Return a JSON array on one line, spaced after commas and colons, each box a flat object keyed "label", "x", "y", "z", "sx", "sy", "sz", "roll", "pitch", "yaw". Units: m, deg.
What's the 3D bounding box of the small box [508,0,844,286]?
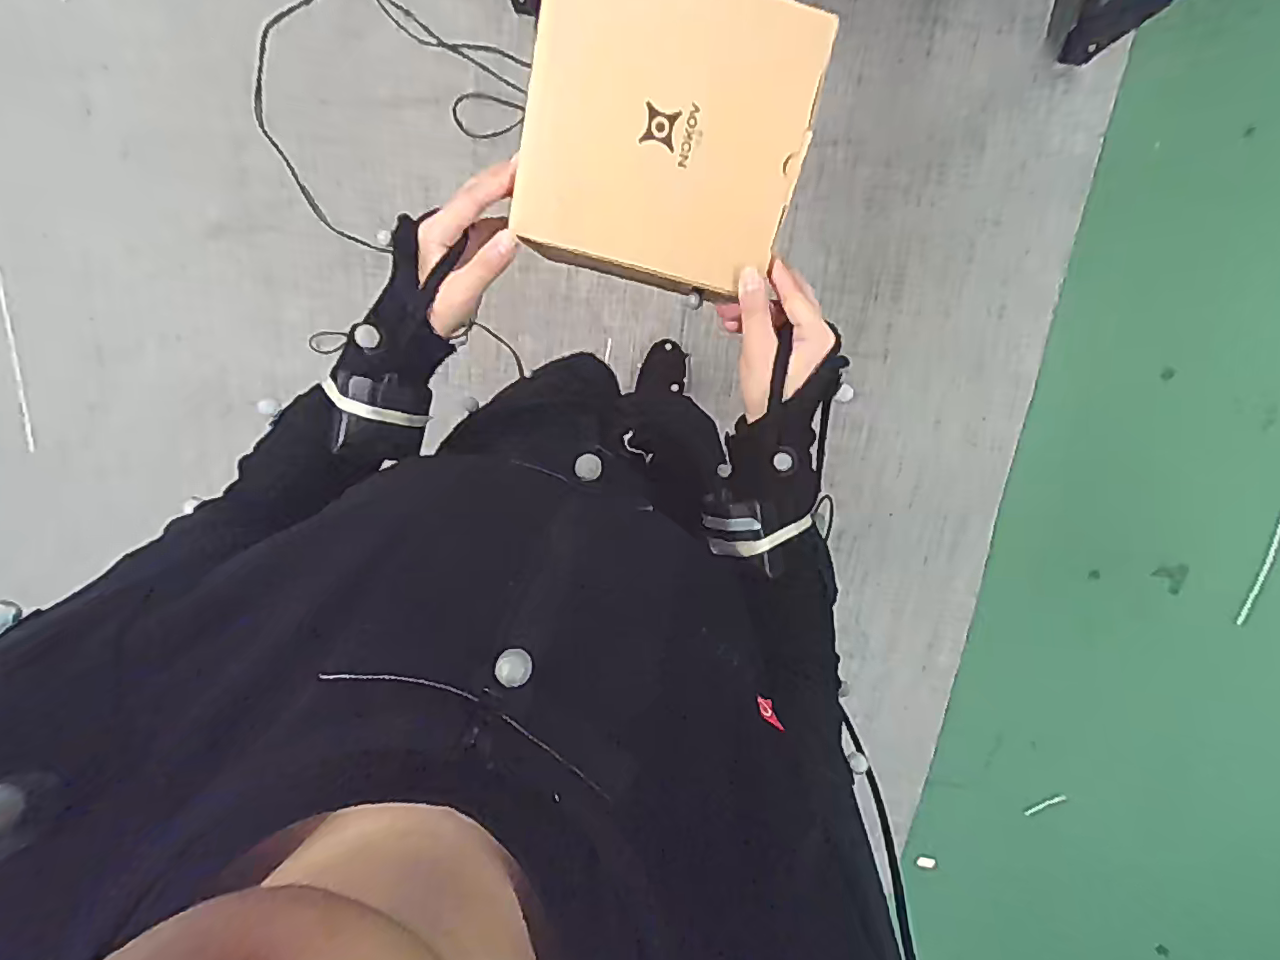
[{"label": "small box", "x": 0.015, "y": -0.249, "z": 0.406, "sx": 0.179, "sy": 0.176, "sz": 0.168, "roll": 12, "pitch": 107, "yaw": -7}]
